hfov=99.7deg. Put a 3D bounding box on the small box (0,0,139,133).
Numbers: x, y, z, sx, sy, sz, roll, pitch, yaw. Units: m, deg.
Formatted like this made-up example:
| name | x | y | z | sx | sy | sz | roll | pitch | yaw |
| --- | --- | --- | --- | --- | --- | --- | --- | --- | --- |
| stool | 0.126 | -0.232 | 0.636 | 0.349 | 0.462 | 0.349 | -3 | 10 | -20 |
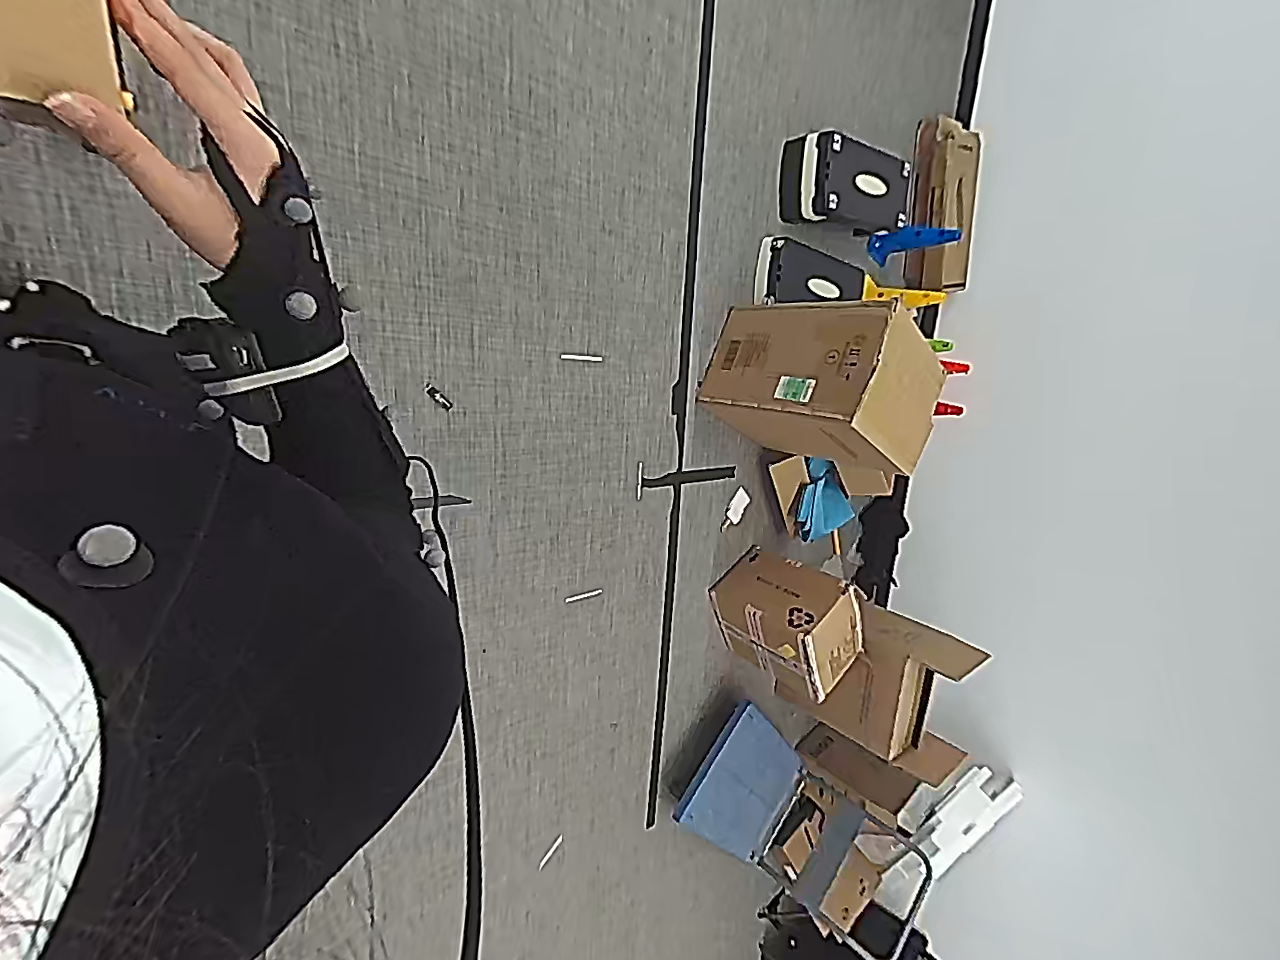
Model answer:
| name | x | y | z | sx | sy | sz | roll | pitch | yaw |
| --- | --- | --- | --- | --- | --- | --- | --- | --- | --- |
| small box | -0.332 | -0.253 | 0.210 | 0.179 | 0.176 | 0.168 | -11 | 119 | -43 |
